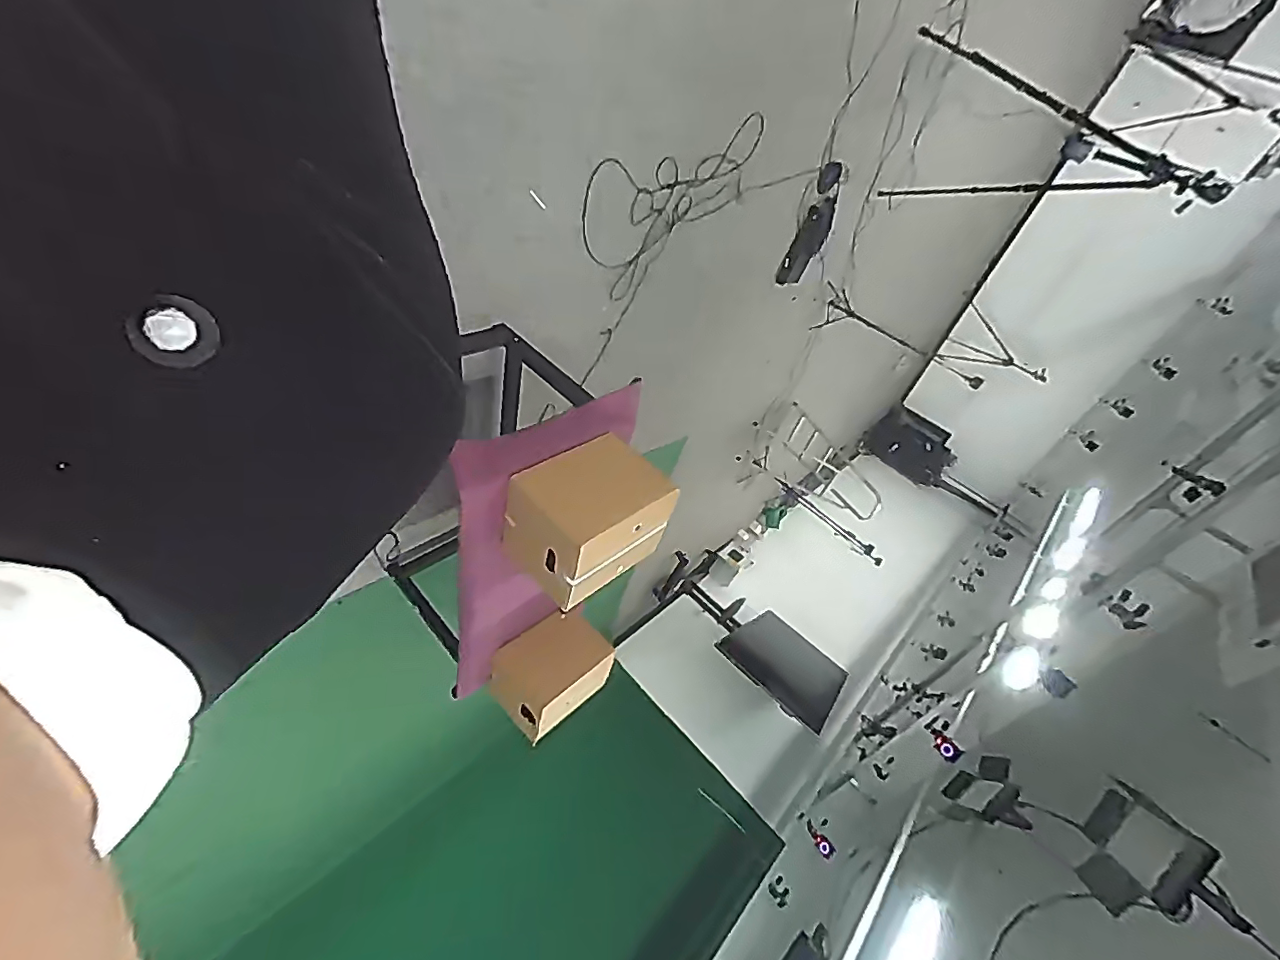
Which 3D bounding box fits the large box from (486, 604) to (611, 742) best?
[{"bbox_3d":[-0.393,0.809,2.309,0.408,0.320,0.320,-27,146,-41],"label":"large box"}]
